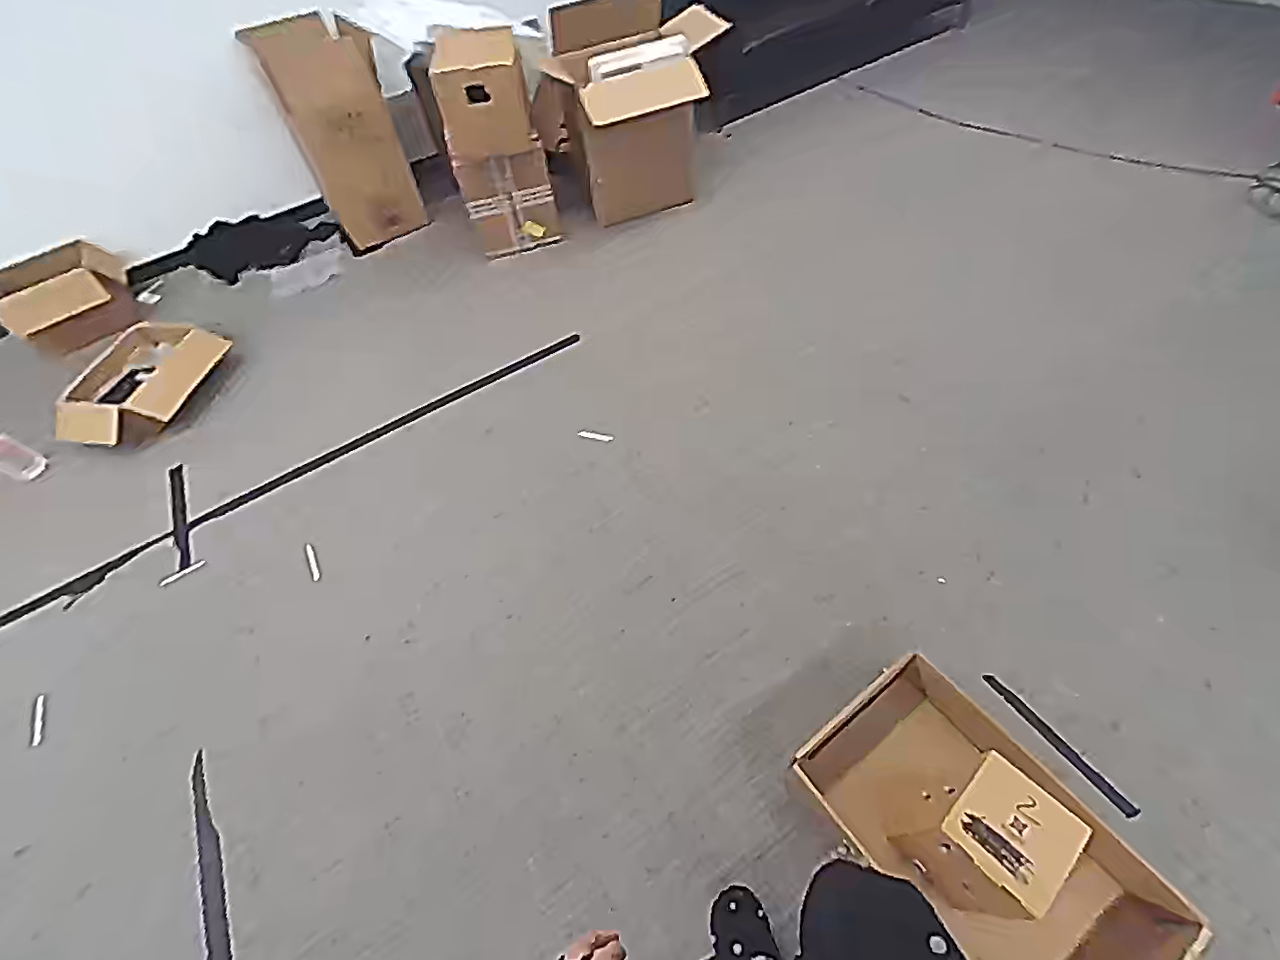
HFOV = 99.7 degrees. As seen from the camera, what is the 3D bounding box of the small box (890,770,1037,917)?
[{"bbox_3d":[0.631,0.719,1.080,0.179,0.176,0.168,-38,58,-18],"label":"small box"}]
